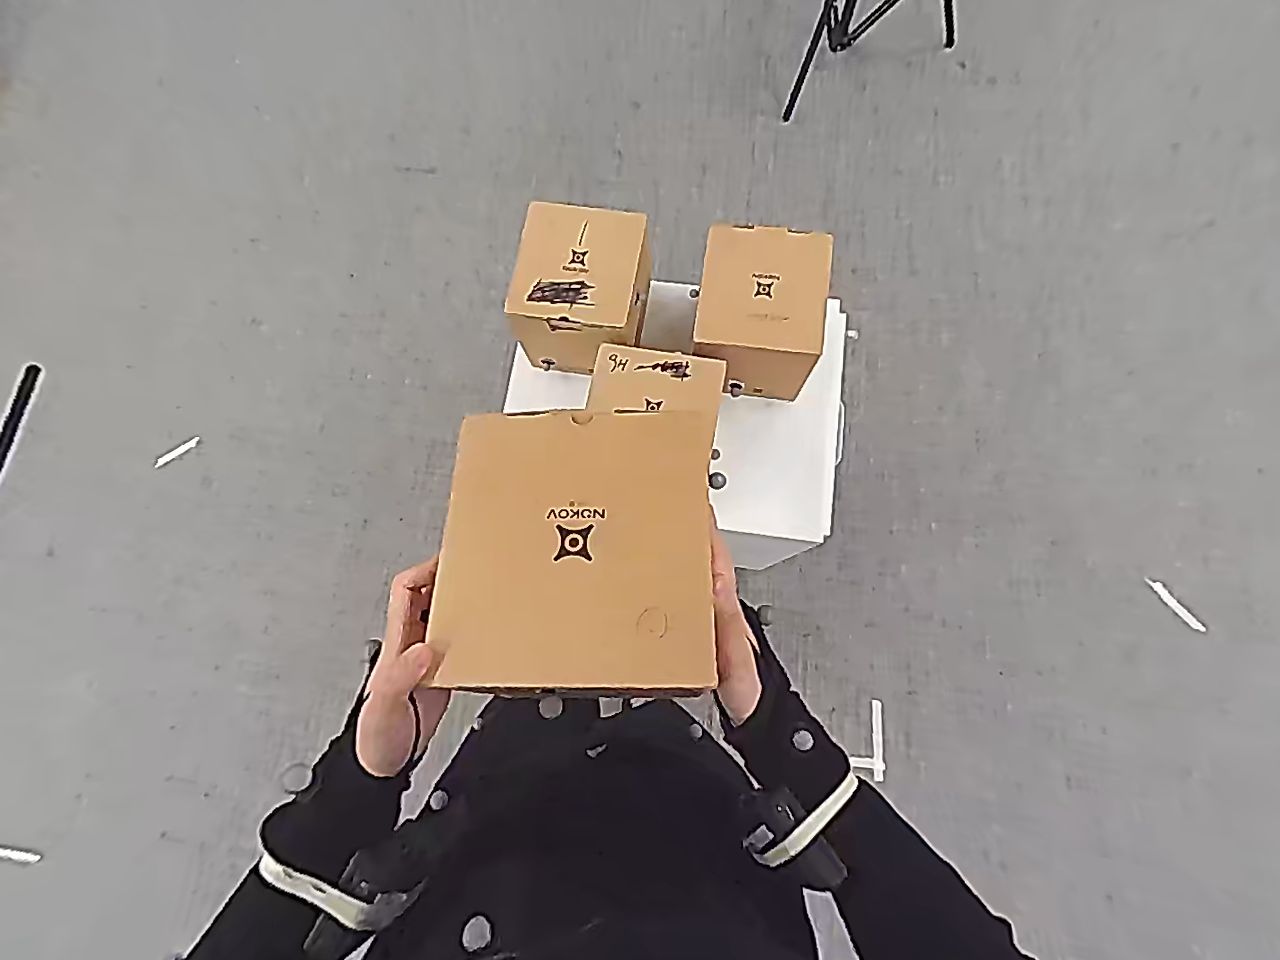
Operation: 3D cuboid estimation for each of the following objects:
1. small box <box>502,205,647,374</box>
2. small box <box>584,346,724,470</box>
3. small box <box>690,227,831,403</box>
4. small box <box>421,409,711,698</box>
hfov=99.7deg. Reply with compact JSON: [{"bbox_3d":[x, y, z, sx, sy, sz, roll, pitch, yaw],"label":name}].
[{"bbox_3d":[-0.083,-0.265,0.796,0.168,0.176,0.179,9,77,4],"label":"small box"},{"bbox_3d":[0.015,-0.057,0.743,0.168,0.176,0.179,10,77,5],"label":"small box"},{"bbox_3d":[0.164,-0.228,0.778,0.168,0.176,0.179,7,79,6],"label":"small box"},{"bbox_3d":[-0.037,0.065,0.401,0.168,0.176,0.179,-1,65,2],"label":"small box"}]
